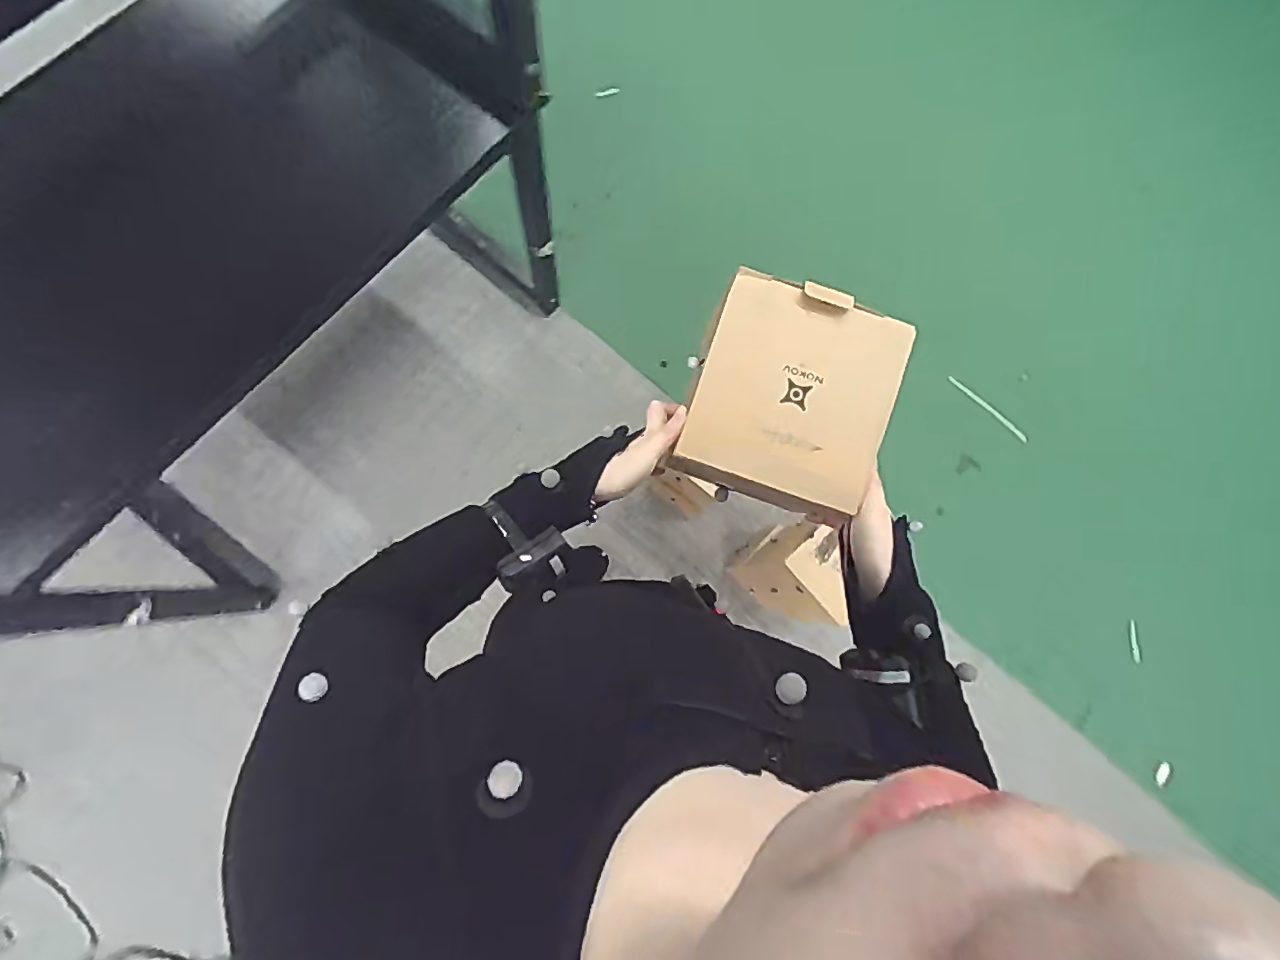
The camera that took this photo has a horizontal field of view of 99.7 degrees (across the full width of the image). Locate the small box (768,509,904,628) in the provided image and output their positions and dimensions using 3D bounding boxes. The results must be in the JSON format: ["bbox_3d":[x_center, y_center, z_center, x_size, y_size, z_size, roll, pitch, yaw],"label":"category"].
[{"bbox_3d":[0.399,0.187,1.137,0.168,0.176,0.179,-41,86,-10],"label":"small box"}]

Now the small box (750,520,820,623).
[{"bbox_3d":[0.391,0.220,1.297,0.168,0.176,0.179,-38,85,-9],"label":"small box"}]

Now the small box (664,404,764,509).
[{"bbox_3d":[0.172,-0.049,1.330,0.168,0.176,0.179,39,78,3],"label":"small box"}]
